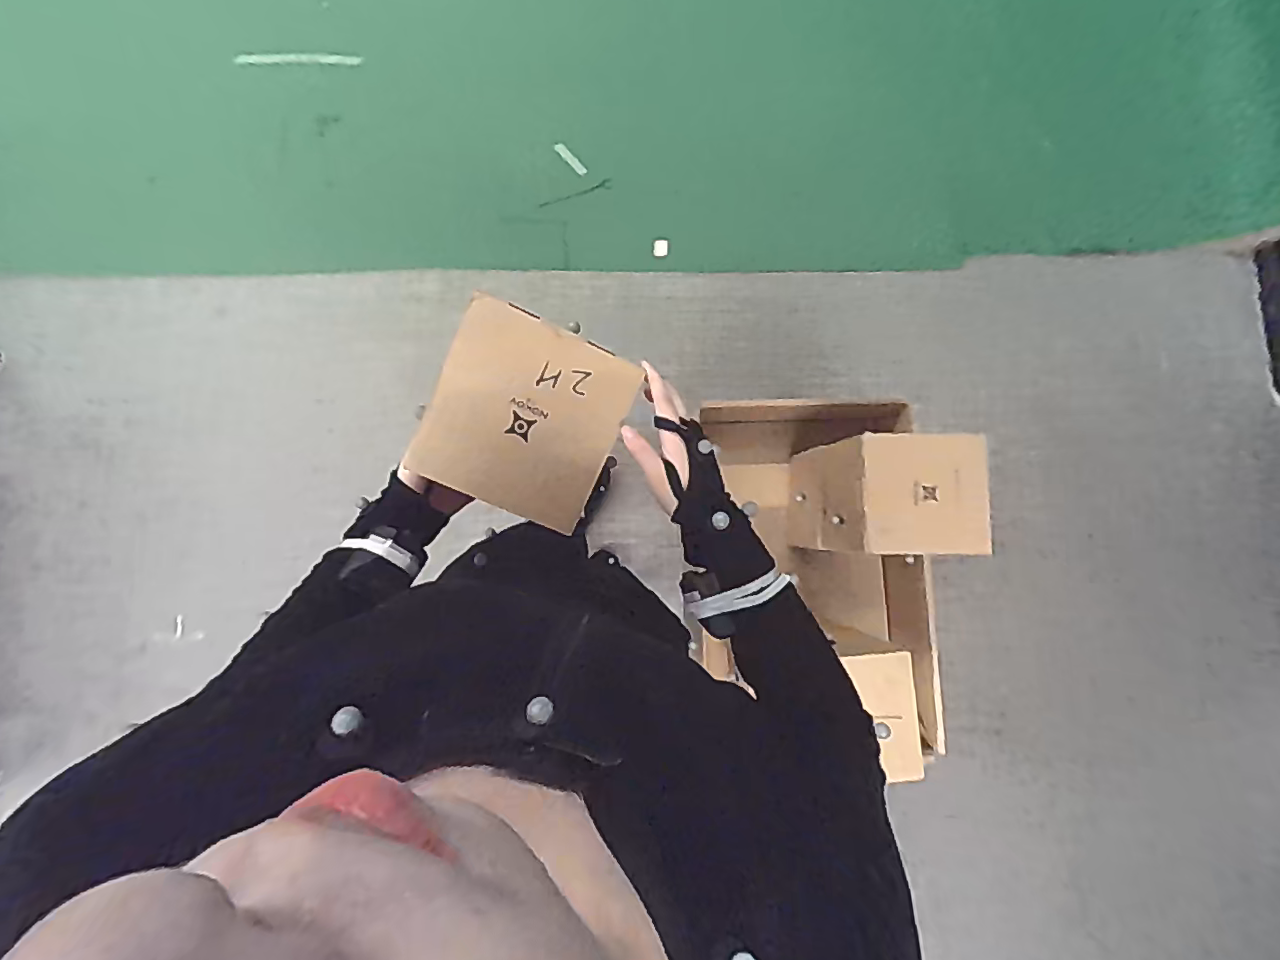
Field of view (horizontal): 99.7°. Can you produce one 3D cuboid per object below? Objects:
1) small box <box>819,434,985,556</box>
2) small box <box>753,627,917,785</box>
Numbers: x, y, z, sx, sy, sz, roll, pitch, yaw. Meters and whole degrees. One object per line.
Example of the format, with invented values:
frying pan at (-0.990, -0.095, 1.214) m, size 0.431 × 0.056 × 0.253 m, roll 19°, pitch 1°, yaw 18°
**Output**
small box at (0.383, 0.026, 0.820) m, size 0.179 × 0.176 × 0.168 m, roll 2°, pitch 86°, yaw -3°
small box at (0.269, 0.317, 0.789) m, size 0.179 × 0.176 × 0.168 m, roll -3°, pitch 86°, yaw -3°
